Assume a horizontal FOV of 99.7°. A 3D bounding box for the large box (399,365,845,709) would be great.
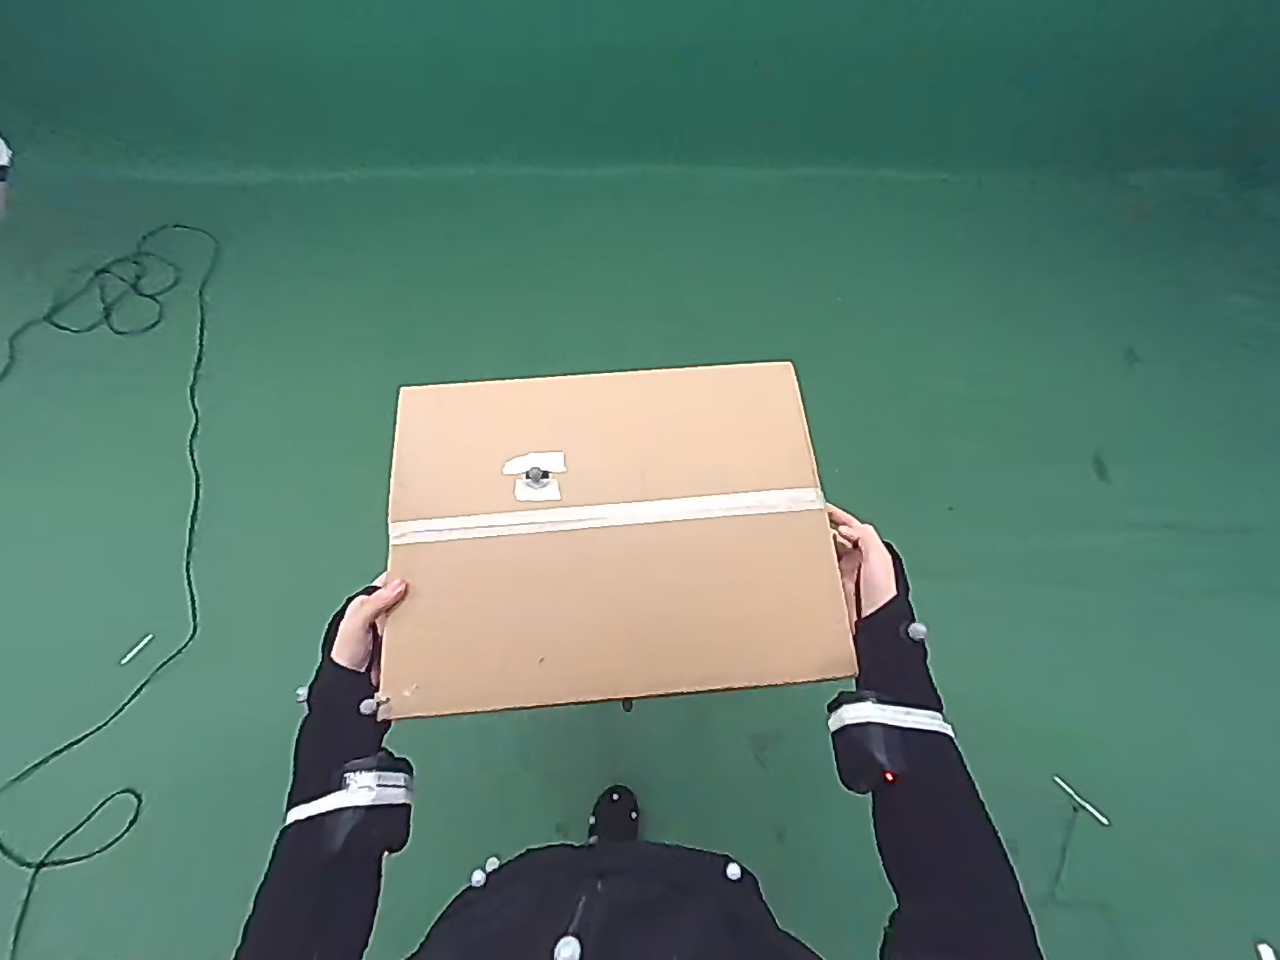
[{"bbox_3d":[-0.024,0.087,0.664,0.408,0.320,0.320,-5,69,-1],"label":"large box"}]
